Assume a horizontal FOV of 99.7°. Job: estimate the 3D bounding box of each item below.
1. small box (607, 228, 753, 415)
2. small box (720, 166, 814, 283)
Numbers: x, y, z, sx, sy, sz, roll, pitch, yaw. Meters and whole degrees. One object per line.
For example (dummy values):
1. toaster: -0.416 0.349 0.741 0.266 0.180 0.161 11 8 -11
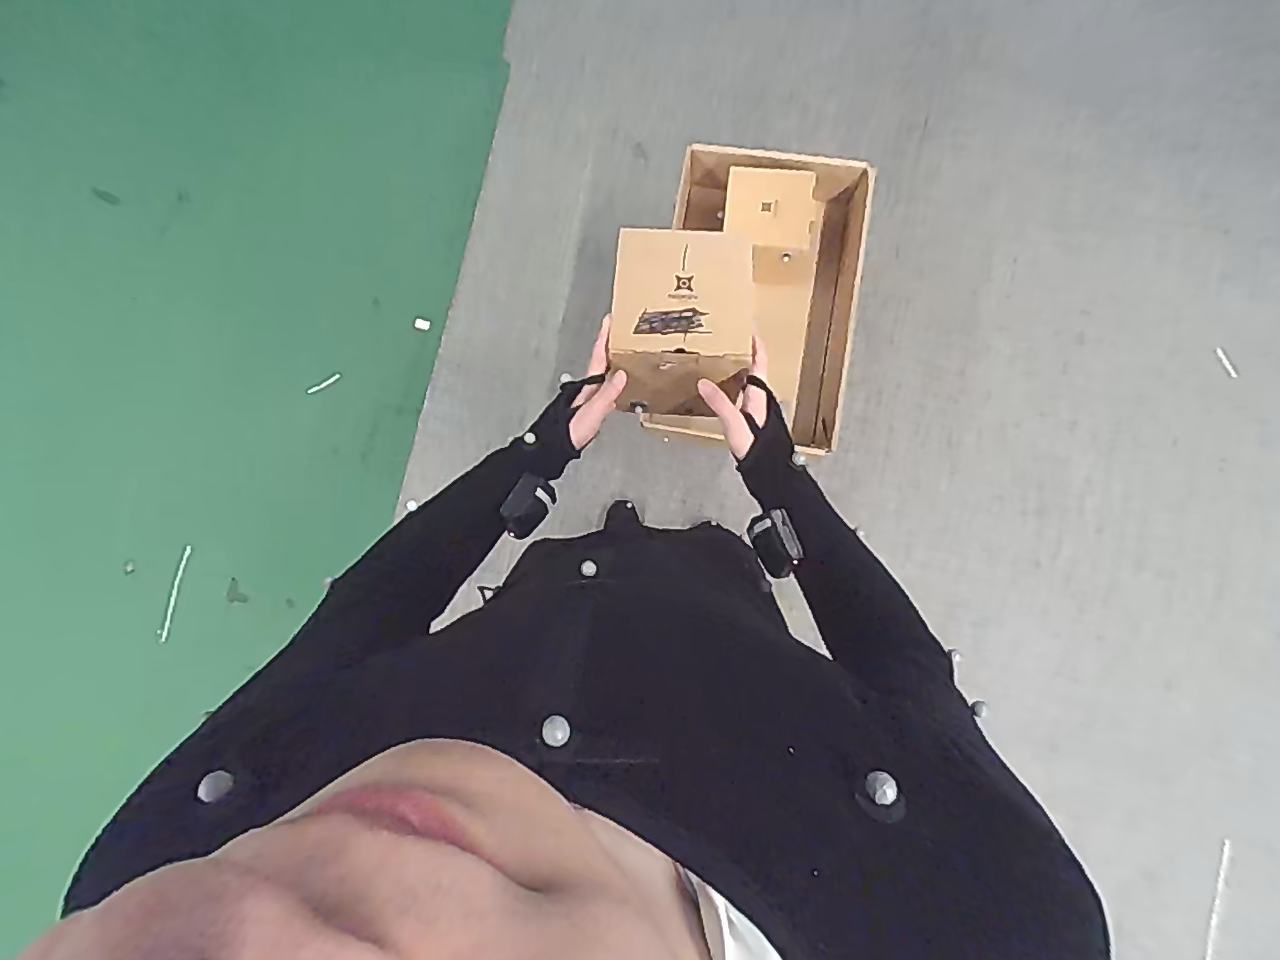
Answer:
1. small box: 0.051 -0.198 0.710 0.168 0.176 0.179 4 72 2
2. small box: 0.260 -0.541 1.162 0.179 0.176 0.168 6 86 4
